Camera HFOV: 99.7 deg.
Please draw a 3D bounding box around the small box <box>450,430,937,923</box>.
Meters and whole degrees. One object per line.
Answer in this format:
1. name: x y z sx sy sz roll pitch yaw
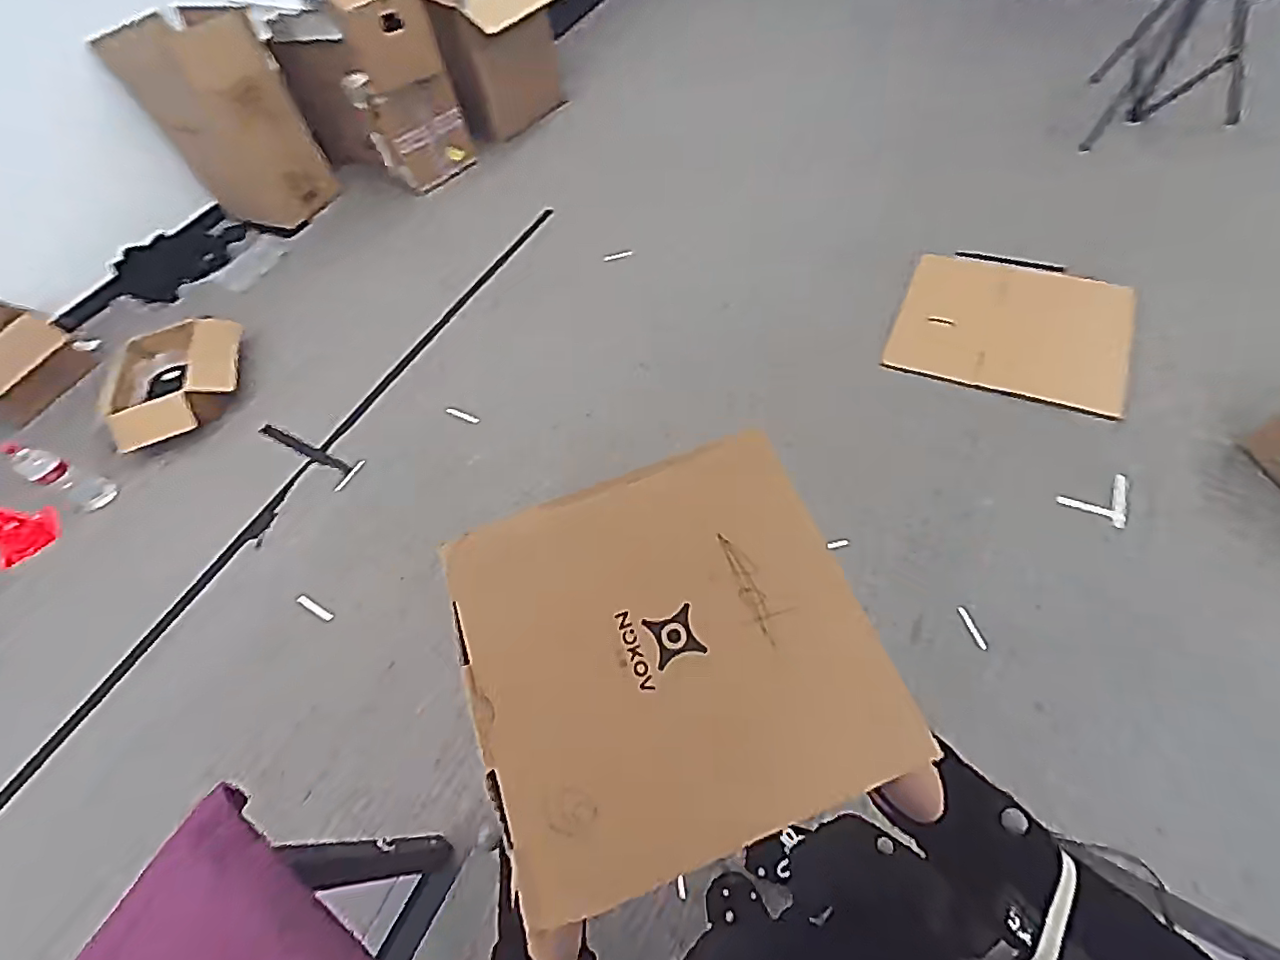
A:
1. small box: 0.018 0.103 0.314 0.179 0.176 0.168 -20 68 -6
